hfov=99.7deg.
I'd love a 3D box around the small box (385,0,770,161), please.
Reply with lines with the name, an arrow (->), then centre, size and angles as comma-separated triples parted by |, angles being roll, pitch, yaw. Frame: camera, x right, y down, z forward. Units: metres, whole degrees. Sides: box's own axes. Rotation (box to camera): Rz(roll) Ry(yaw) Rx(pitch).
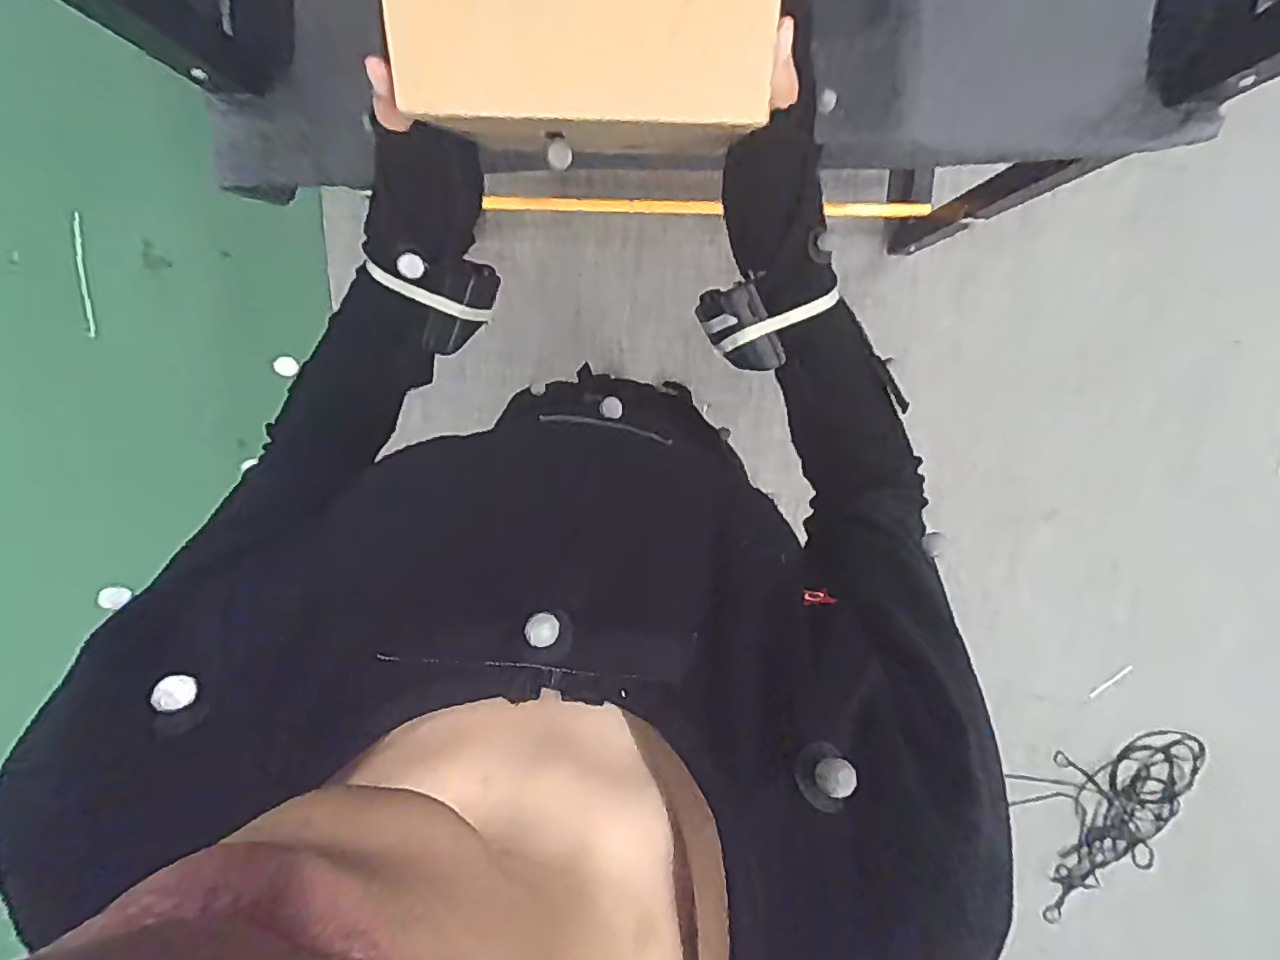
small box -> -0.024, -0.273, 0.281 | 0.168, 0.176, 0.179 | 1, 116, 0
